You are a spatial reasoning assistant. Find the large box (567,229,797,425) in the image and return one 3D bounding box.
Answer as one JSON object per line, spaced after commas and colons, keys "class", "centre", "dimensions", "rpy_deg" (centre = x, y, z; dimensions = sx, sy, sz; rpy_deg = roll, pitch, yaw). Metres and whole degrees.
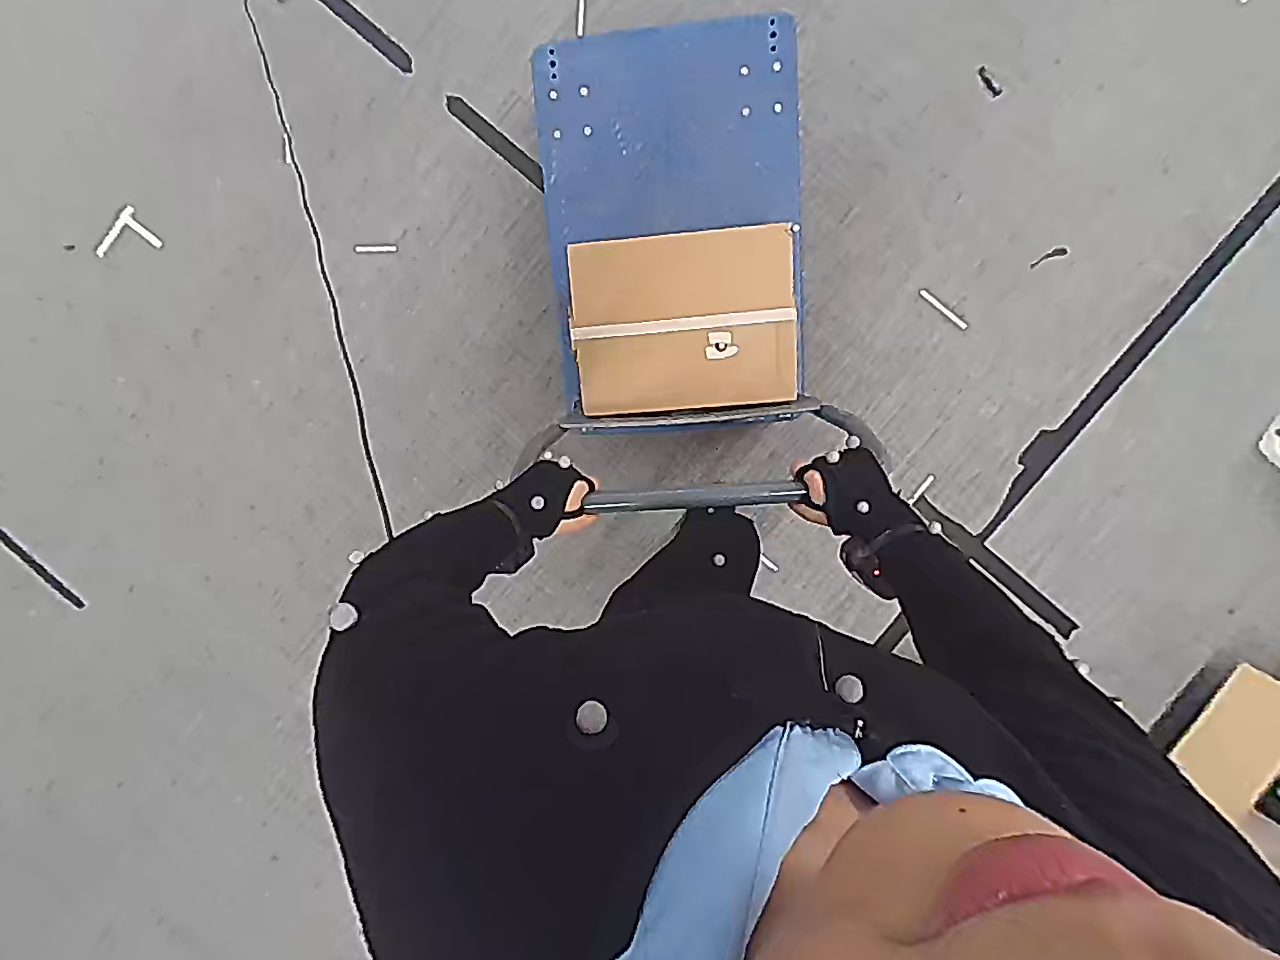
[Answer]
{"class": "large box", "centre": [0.086, -0.300, 1.135], "dimensions": [0.408, 0.320, 0.320], "rpy_deg": [-5, 101, 4]}
